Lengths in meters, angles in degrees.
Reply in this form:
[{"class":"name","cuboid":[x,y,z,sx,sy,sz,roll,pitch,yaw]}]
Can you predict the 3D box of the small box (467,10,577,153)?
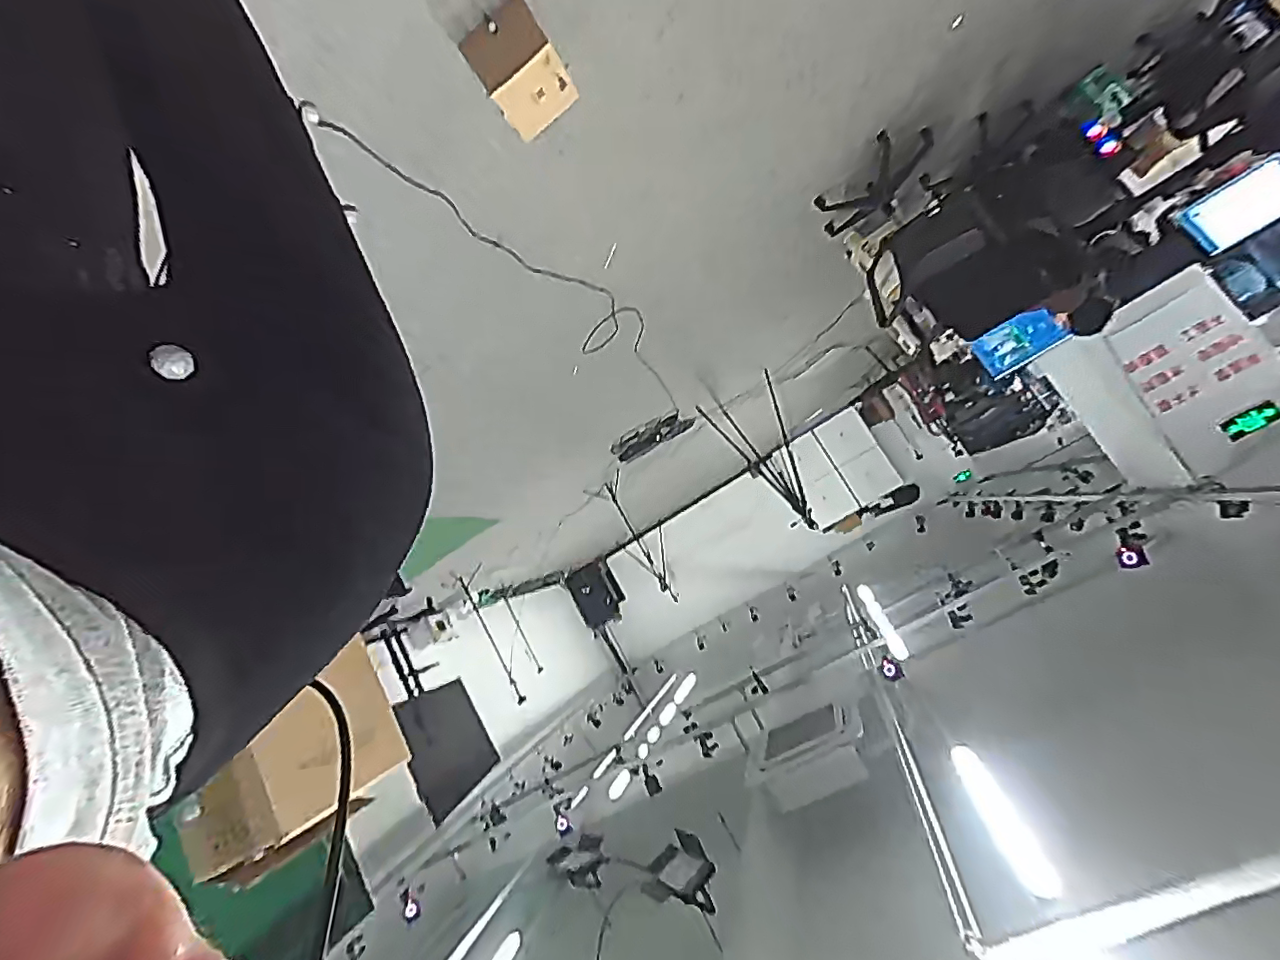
[{"class":"small box","cuboid":[-0.288,-0.947,1.294,0.179,0.176,0.168,-34,167,13]}]
